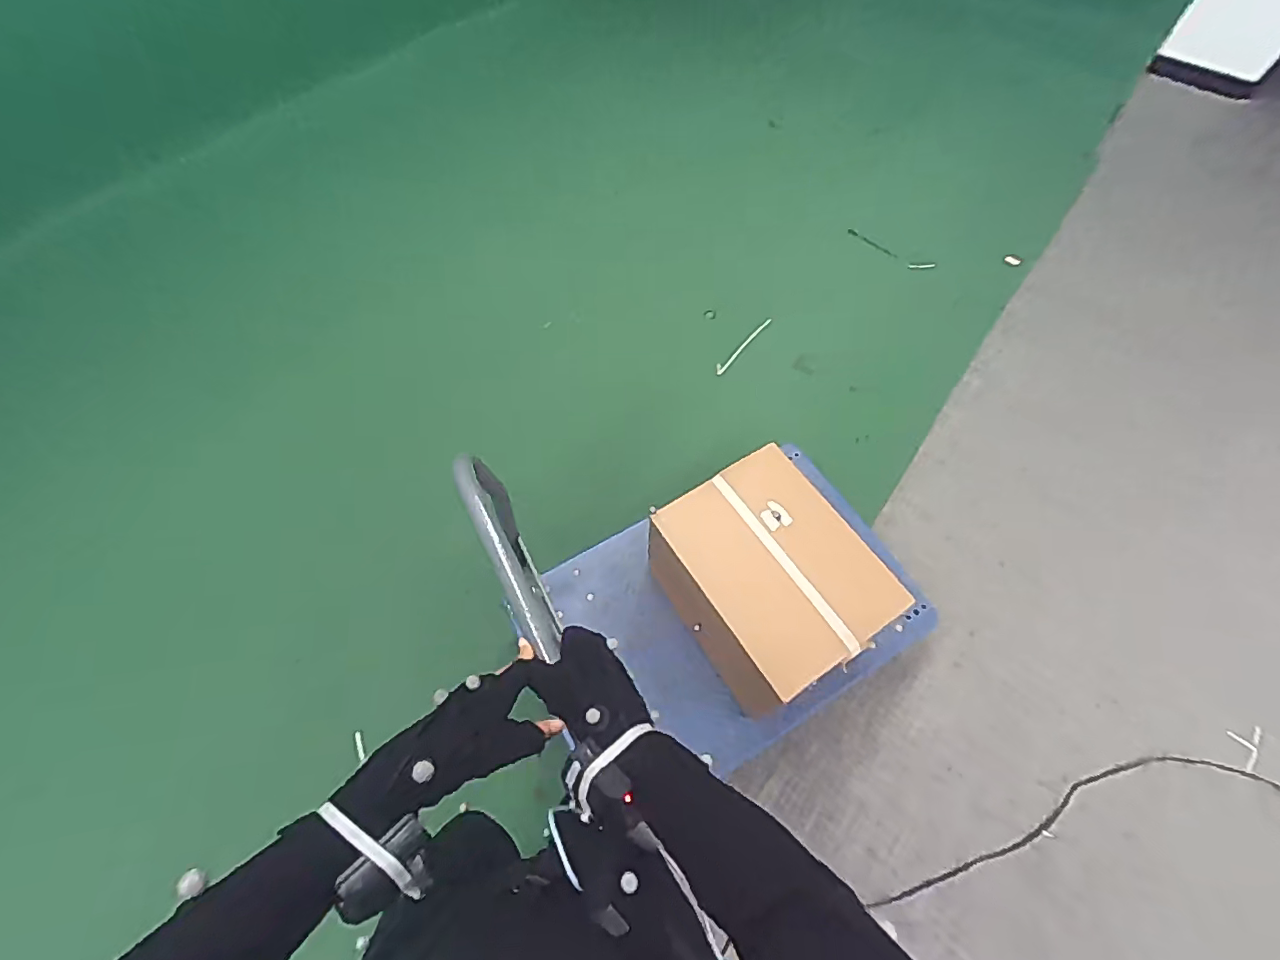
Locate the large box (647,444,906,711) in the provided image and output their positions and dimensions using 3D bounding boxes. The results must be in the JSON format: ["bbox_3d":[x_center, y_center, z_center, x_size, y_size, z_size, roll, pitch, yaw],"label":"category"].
[{"bbox_3d":[0.249,0.210,1.144,0.320,0.320,0.408,-29,65,-16],"label":"large box"}]
